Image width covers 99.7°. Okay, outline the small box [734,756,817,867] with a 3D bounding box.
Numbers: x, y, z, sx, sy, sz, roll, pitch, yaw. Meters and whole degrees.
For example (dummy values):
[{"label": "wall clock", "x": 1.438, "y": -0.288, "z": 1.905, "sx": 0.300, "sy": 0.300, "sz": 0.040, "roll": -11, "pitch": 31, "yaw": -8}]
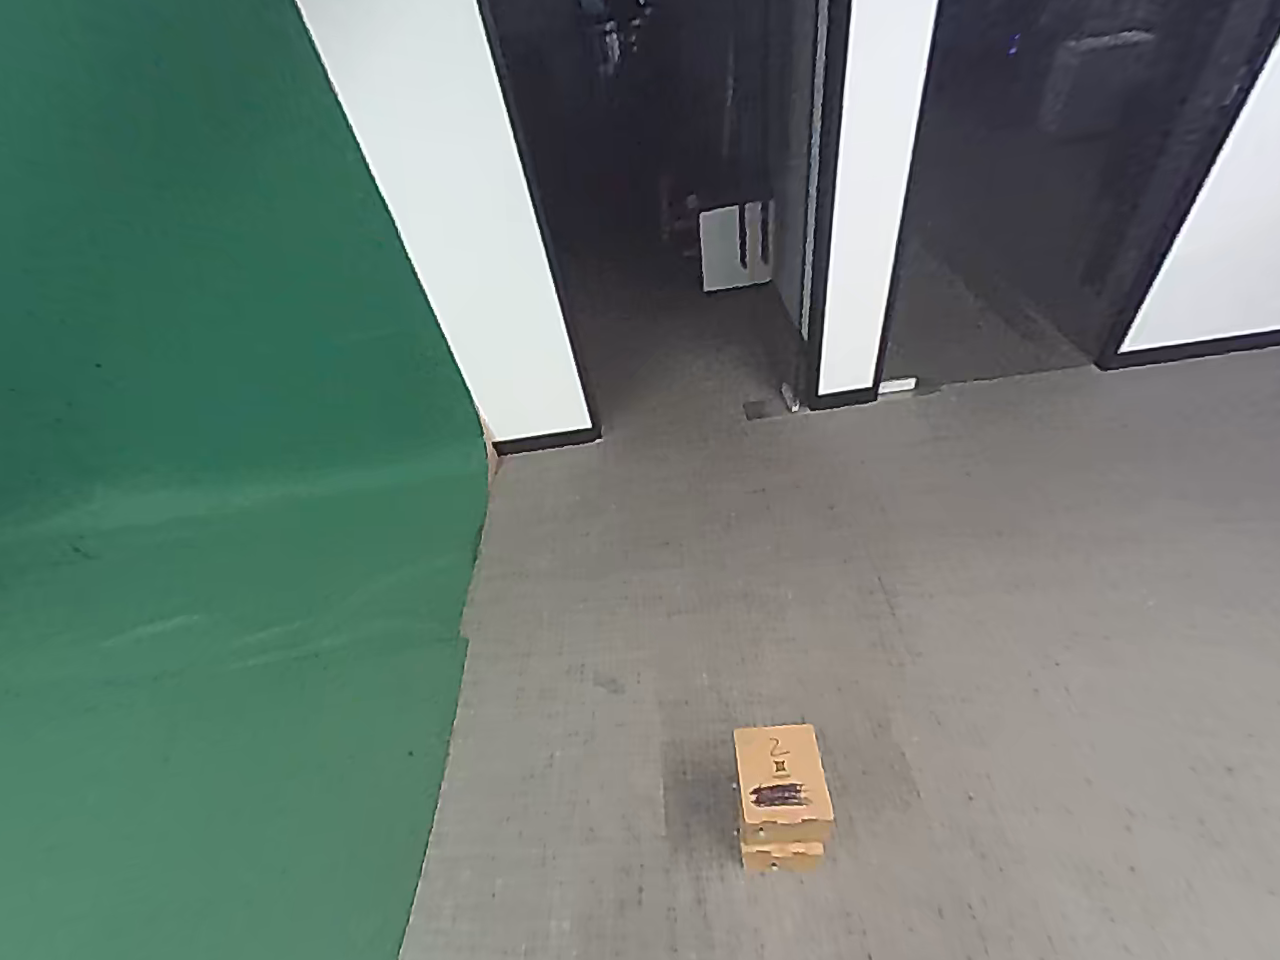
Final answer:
[{"label": "small box", "x": 0.300, "y": 0.753, "z": 1.230, "sx": 0.168, "sy": 0.176, "sz": 0.179, "roll": -3, "pitch": 44, "yaw": 9}]
